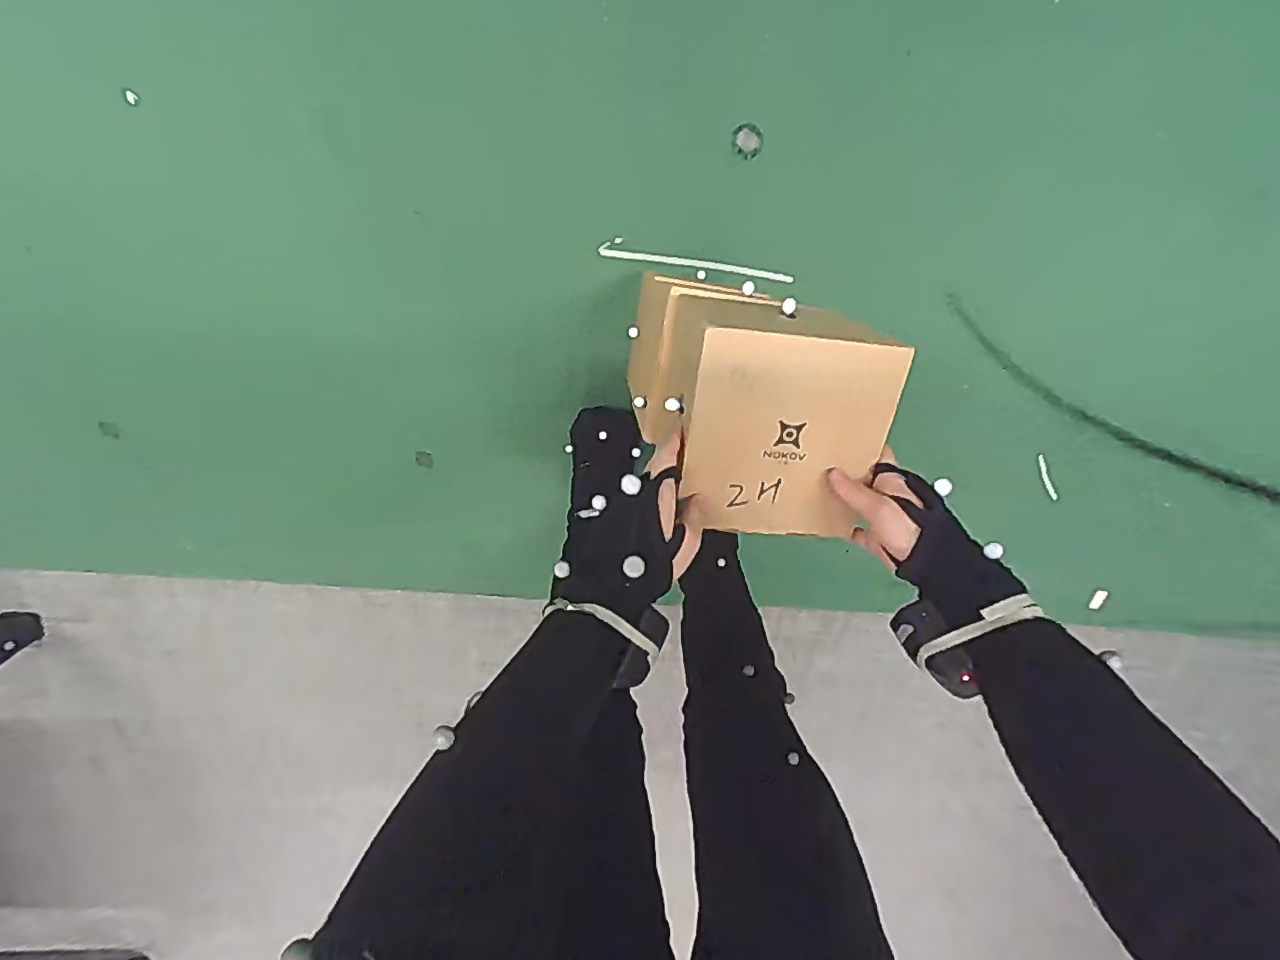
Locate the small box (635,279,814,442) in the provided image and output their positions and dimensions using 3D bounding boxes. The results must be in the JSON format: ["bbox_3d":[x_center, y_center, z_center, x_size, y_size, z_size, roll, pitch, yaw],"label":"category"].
[{"bbox_3d":[0.089,-0.147,0.674,0.168,0.176,0.179,6,112,-8],"label":"small box"}]

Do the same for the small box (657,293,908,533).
[{"bbox_3d":[0.111,-0.072,0.510,0.168,0.176,0.179,5,116,-5],"label":"small box"}]
